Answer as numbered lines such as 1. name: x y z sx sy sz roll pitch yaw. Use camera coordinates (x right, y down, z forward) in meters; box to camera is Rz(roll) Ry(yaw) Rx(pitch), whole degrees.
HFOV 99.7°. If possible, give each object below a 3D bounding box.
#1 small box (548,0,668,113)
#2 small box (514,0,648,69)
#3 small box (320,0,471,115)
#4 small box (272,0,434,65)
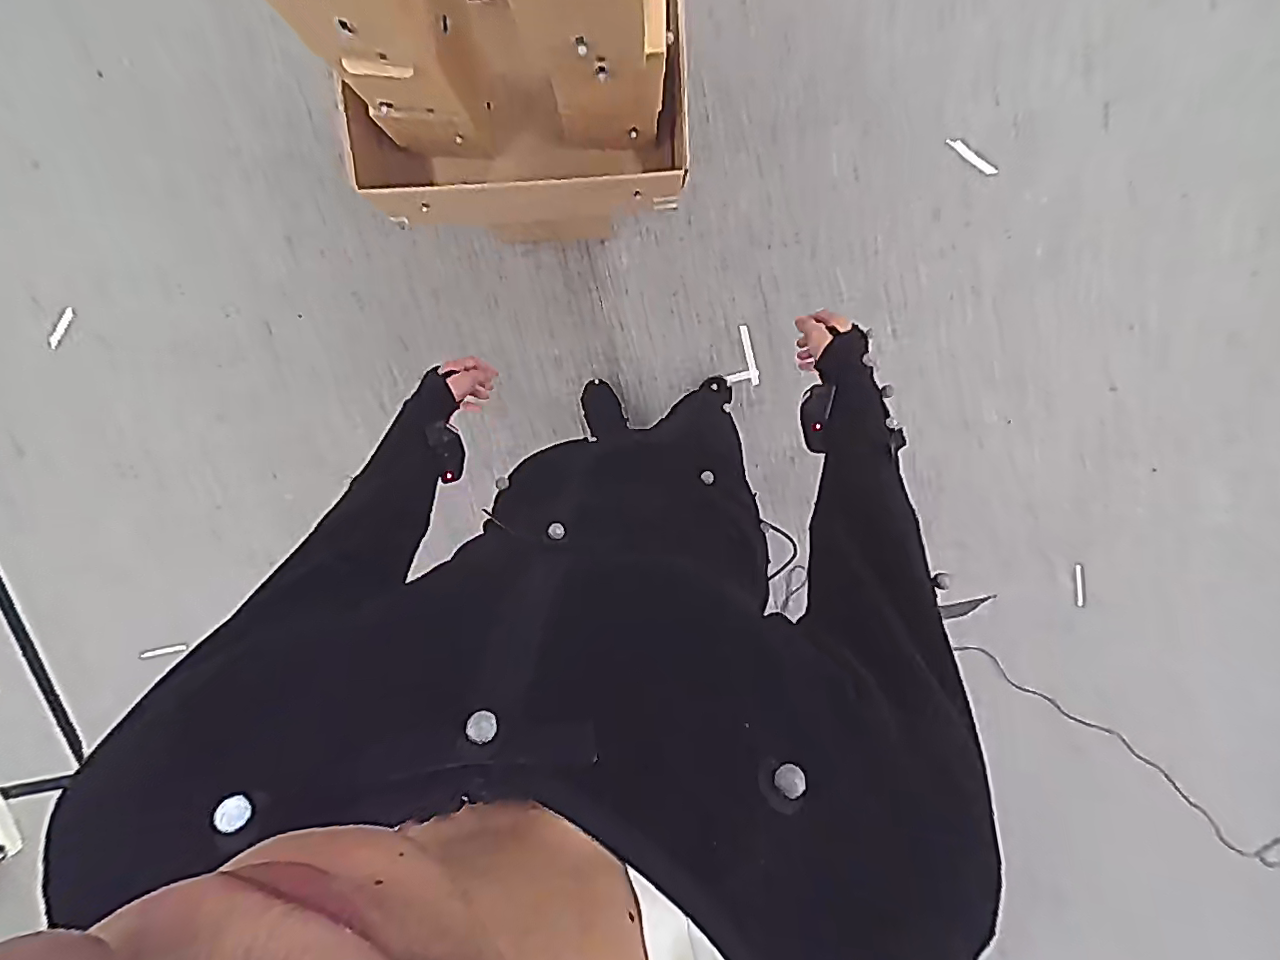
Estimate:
1. small box: -0.050 -0.697 0.834 0.179 0.176 0.168 -2 99 0
2. small box: -0.073 -0.661 0.674 0.168 0.176 0.179 3 100 1
3. small box: -0.366 -0.697 0.832 0.168 0.176 0.179 4 99 -1
4. small box: -0.364 -0.662 0.671 0.168 0.176 0.179 8 100 -2
